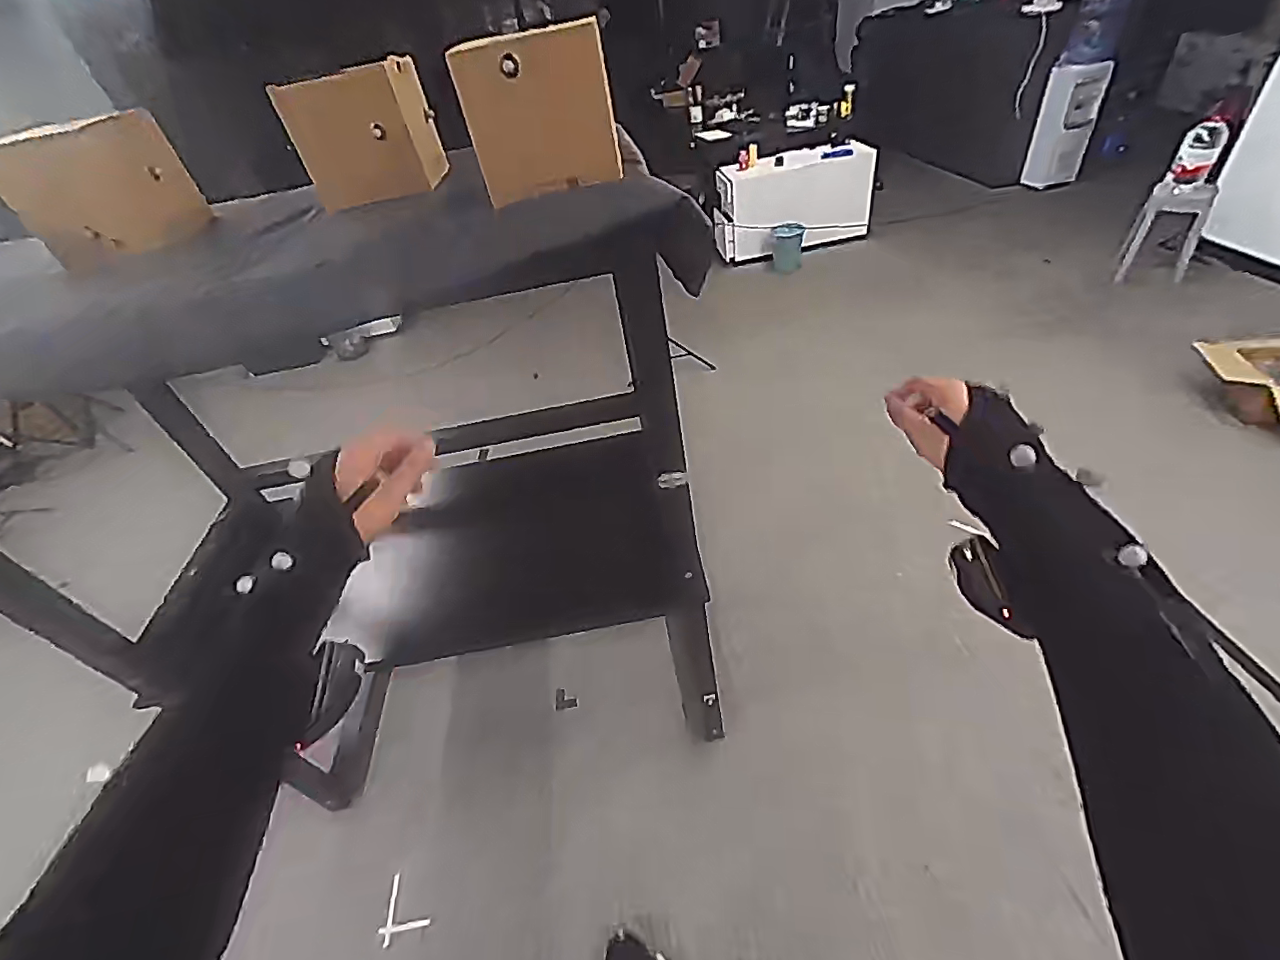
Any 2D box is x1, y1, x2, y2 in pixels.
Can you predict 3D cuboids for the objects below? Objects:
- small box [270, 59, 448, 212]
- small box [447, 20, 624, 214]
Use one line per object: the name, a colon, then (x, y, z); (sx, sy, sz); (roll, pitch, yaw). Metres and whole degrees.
small box: (-0.431, -0.551, 0.868); (0.179, 0.176, 0.168); (-10, 41, 2)
small box: (-0.115, -0.453, 0.681); (0.168, 0.176, 0.179); (-9, 40, 4)
